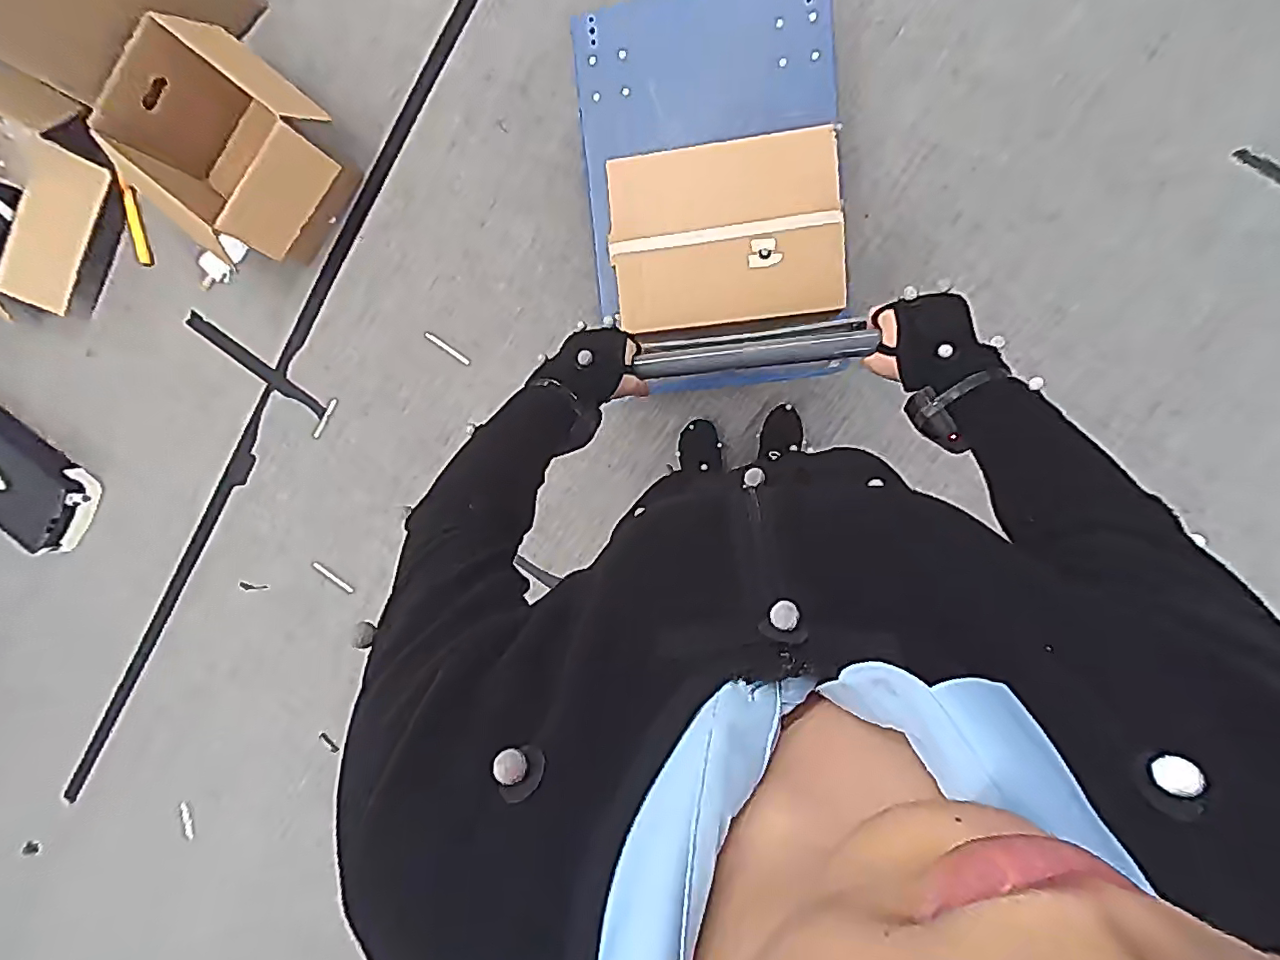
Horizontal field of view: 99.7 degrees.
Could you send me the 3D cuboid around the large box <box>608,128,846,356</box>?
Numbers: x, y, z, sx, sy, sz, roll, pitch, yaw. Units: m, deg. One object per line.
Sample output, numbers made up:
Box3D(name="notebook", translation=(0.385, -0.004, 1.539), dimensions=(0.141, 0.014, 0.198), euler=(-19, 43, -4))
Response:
Box3D(name="large box", translation=(0.168, -0.453, 1.116), dimensions=(0.408, 0.320, 0.320), euler=(-5, 96, 7))
